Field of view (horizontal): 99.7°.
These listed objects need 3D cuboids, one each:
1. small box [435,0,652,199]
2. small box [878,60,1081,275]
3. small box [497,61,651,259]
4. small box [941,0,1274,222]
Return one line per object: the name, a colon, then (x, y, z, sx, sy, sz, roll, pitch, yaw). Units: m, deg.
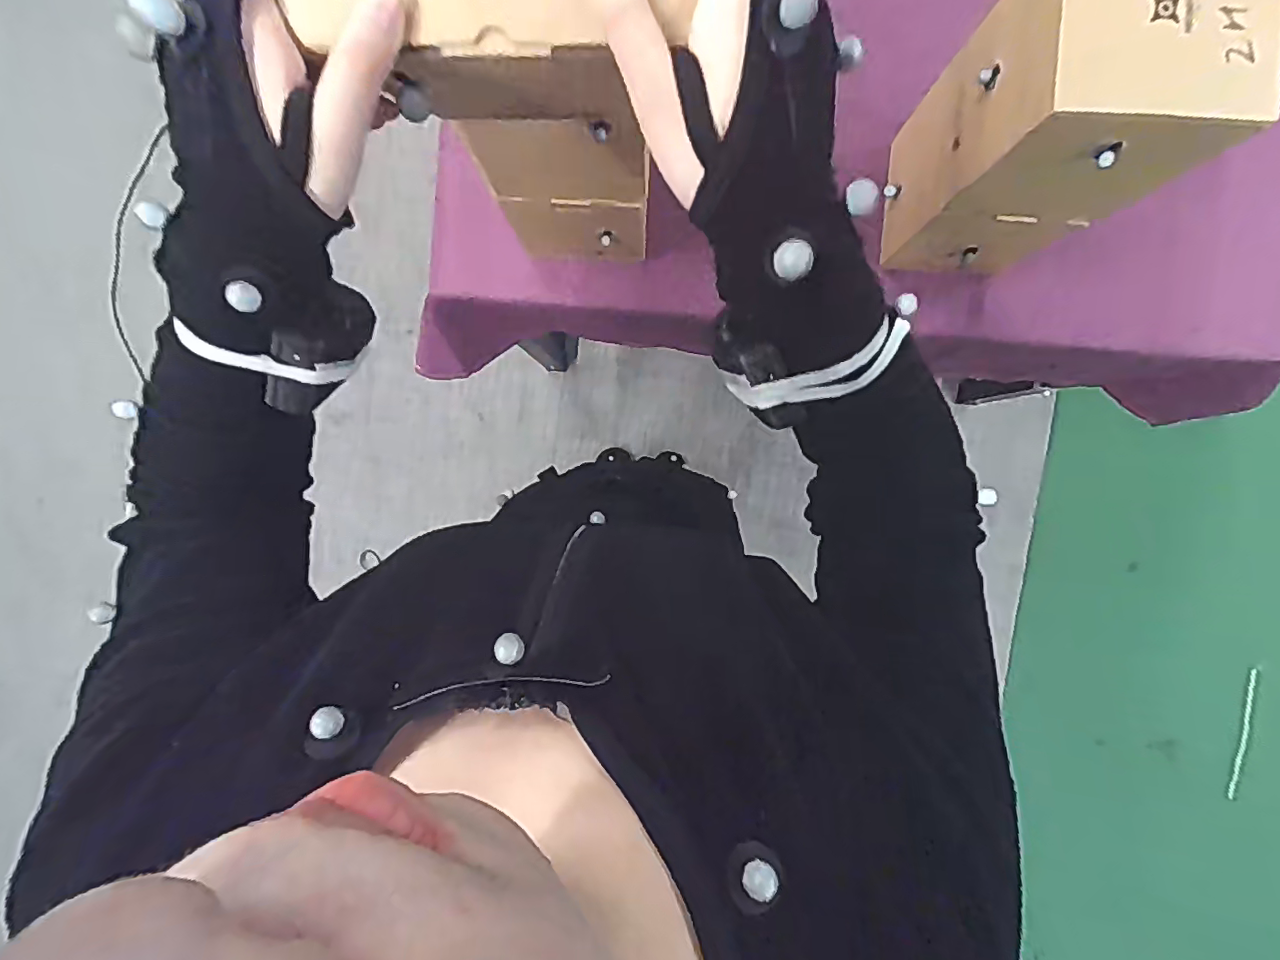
small box: (-0.079, -0.392, 0.521, 0.179, 0.176, 0.168, 2, 92, -1)
small box: (0.416, -0.372, 0.676, 0.168, 0.176, 0.179, 5, 93, 0)
small box: (-0.073, -0.397, 0.683, 0.168, 0.176, 0.179, 4, 91, 0)
small box: (0.416, -0.364, 0.510, 0.179, 0.176, 0.168, 5, 92, 1)
